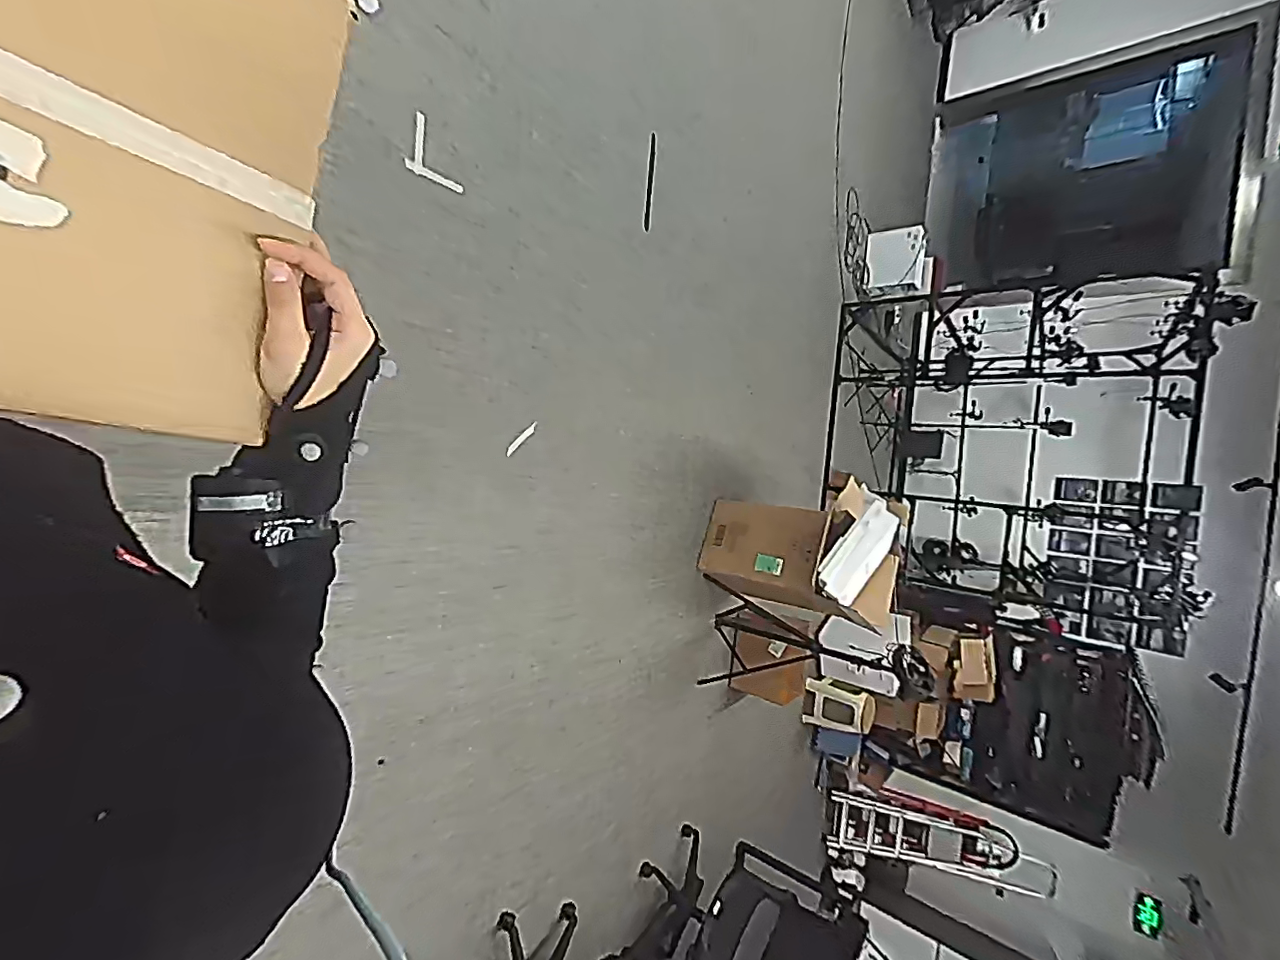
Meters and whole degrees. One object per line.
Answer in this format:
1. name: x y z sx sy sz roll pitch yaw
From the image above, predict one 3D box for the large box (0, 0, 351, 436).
1. large box: -0.461 -0.223 0.308 0.408 0.320 0.320 10 93 -52
